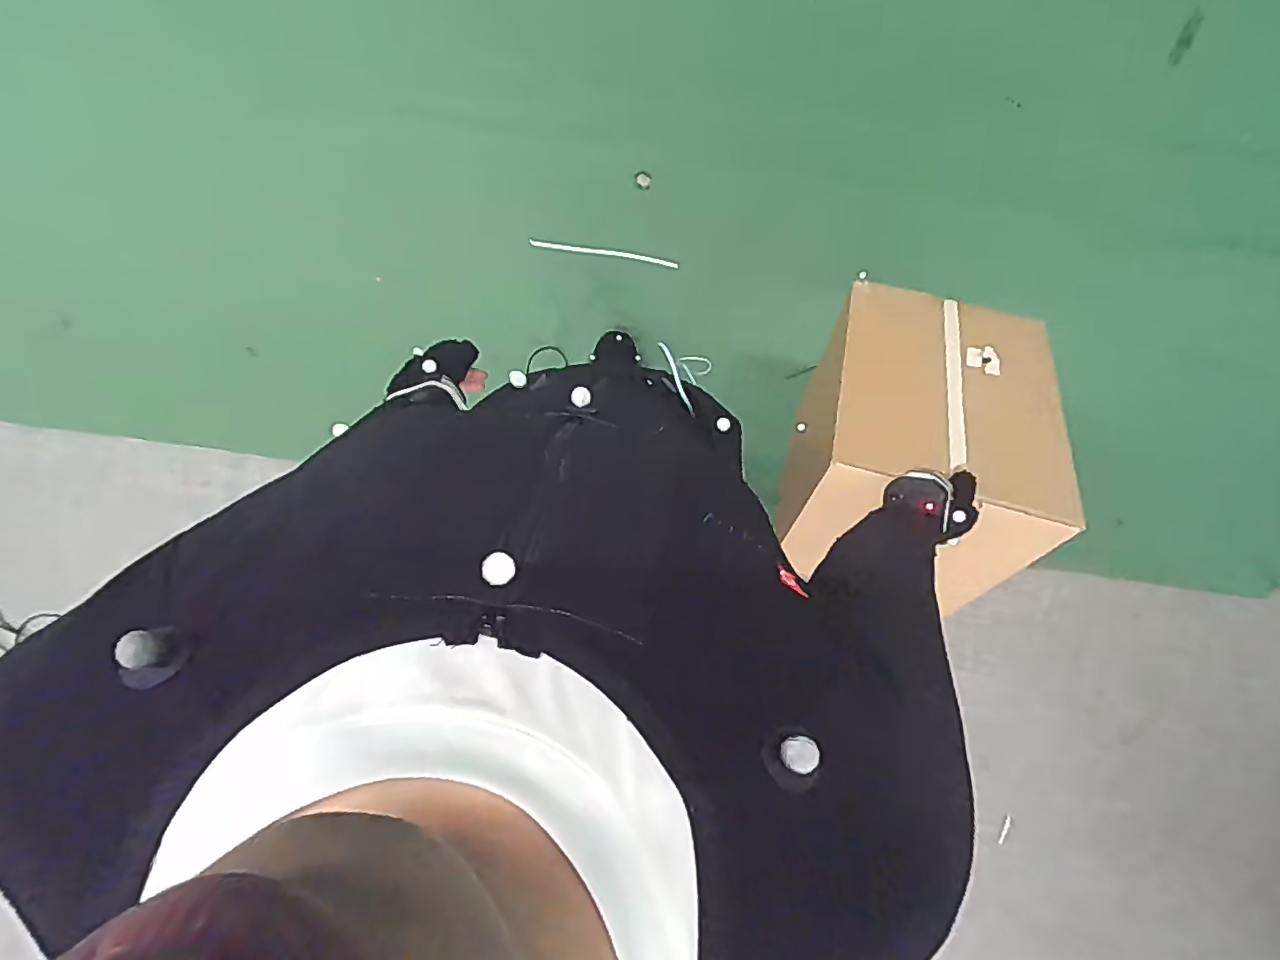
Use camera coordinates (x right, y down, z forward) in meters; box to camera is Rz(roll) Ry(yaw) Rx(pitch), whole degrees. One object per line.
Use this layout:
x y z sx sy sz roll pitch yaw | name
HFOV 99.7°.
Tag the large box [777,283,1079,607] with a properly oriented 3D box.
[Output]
0.441 -0.056 0.913 0.320 0.408 0.320 16 146 6 | large box
